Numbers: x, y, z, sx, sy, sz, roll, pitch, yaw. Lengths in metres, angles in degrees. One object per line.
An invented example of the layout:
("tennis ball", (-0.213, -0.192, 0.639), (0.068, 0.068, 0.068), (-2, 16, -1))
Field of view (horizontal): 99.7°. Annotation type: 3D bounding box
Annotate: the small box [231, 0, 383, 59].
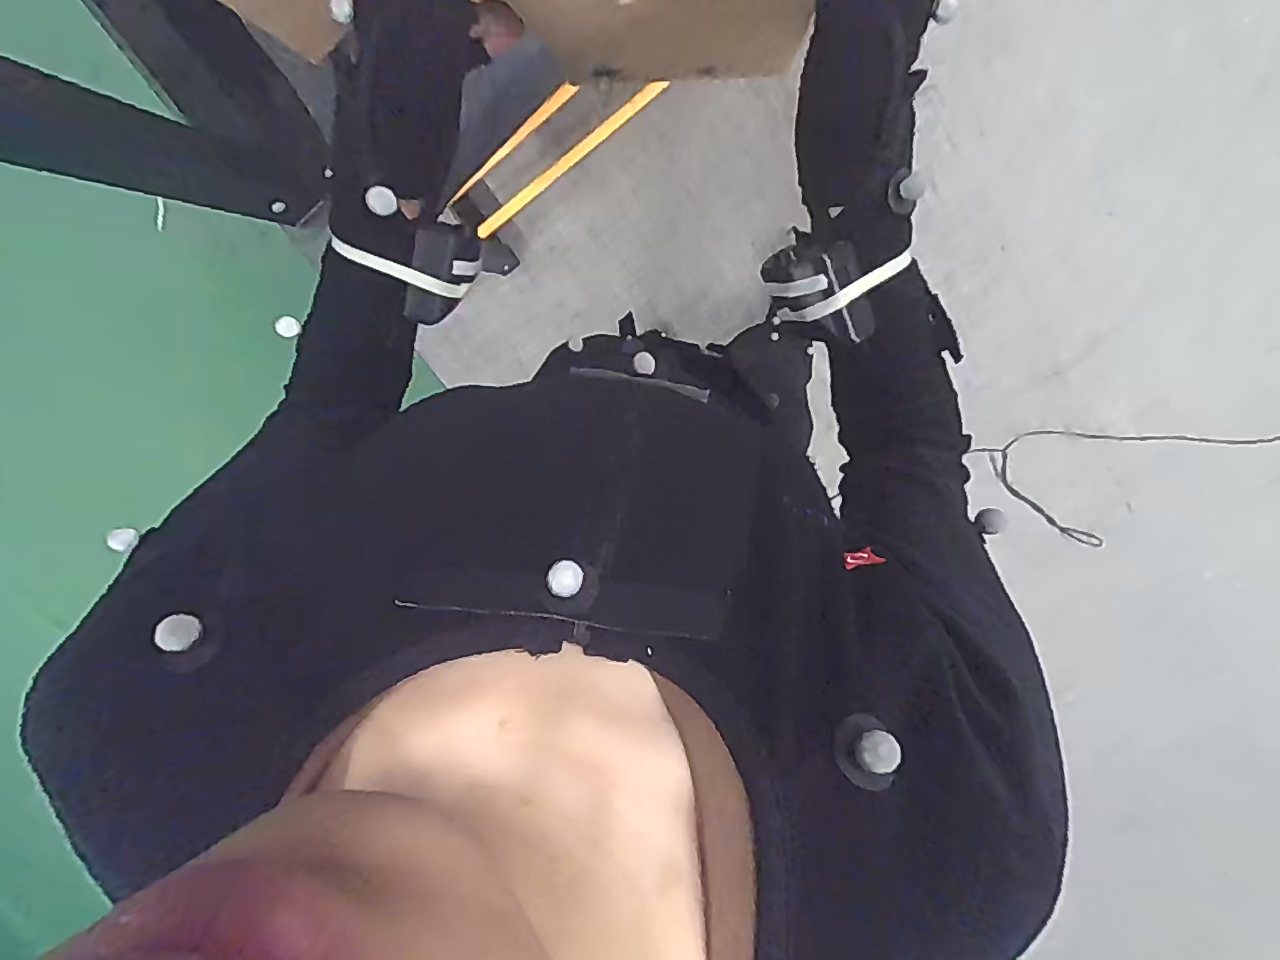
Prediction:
("small box", (-0.365, -0.566, 0.514), (0.168, 0.176, 0.179), (-33, 100, 14))
